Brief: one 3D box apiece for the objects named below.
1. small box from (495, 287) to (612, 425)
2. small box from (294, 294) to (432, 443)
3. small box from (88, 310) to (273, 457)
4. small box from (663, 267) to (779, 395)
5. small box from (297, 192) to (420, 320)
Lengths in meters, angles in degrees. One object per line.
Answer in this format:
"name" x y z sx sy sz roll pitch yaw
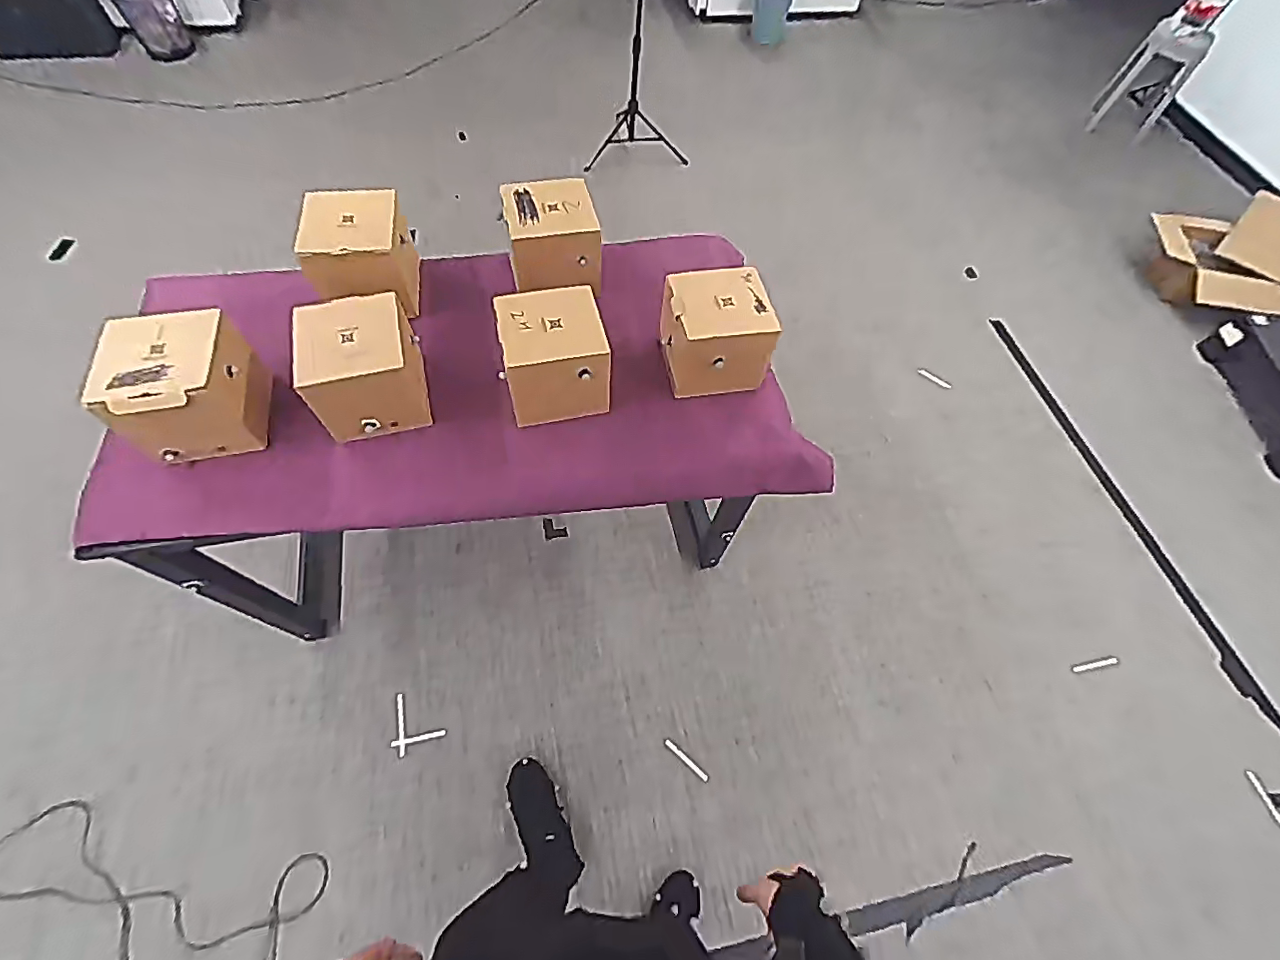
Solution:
"small box" -0.155 -0.221 0.985 0.179 0.176 0.168 -11 62 -10
"small box" -0.477 -0.192 0.946 0.168 0.176 0.179 -14 63 -10
"small box" -0.744 -0.152 0.901 0.168 0.176 0.179 -10 62 -10
"small box" 0.143 -0.279 1.039 0.179 0.176 0.168 -8 63 -7
"small box" -0.543 -0.438 1.069 0.168 0.176 0.179 -6 63 -9
